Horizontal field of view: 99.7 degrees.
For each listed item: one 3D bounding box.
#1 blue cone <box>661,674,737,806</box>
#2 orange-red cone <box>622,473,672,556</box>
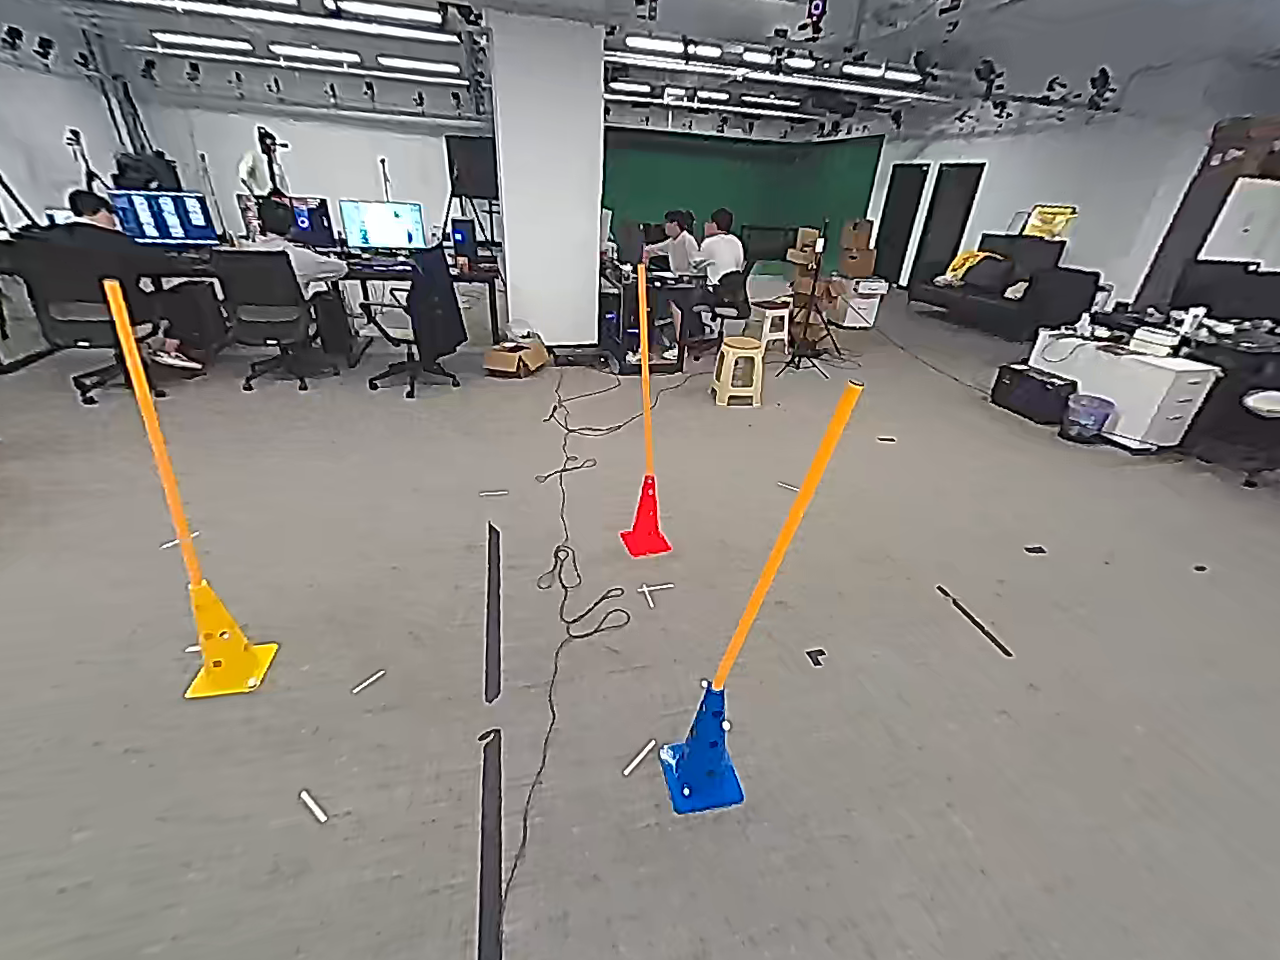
[{"bbox_3d":[0.174,0.674,1.446,0.193,0.380,0.192,-2,28,-11],"label":"blue cone"},{"bbox_3d":[0.036,0.133,2.406,0.199,0.360,0.198,-8,30,-17],"label":"orange-red cone"}]
